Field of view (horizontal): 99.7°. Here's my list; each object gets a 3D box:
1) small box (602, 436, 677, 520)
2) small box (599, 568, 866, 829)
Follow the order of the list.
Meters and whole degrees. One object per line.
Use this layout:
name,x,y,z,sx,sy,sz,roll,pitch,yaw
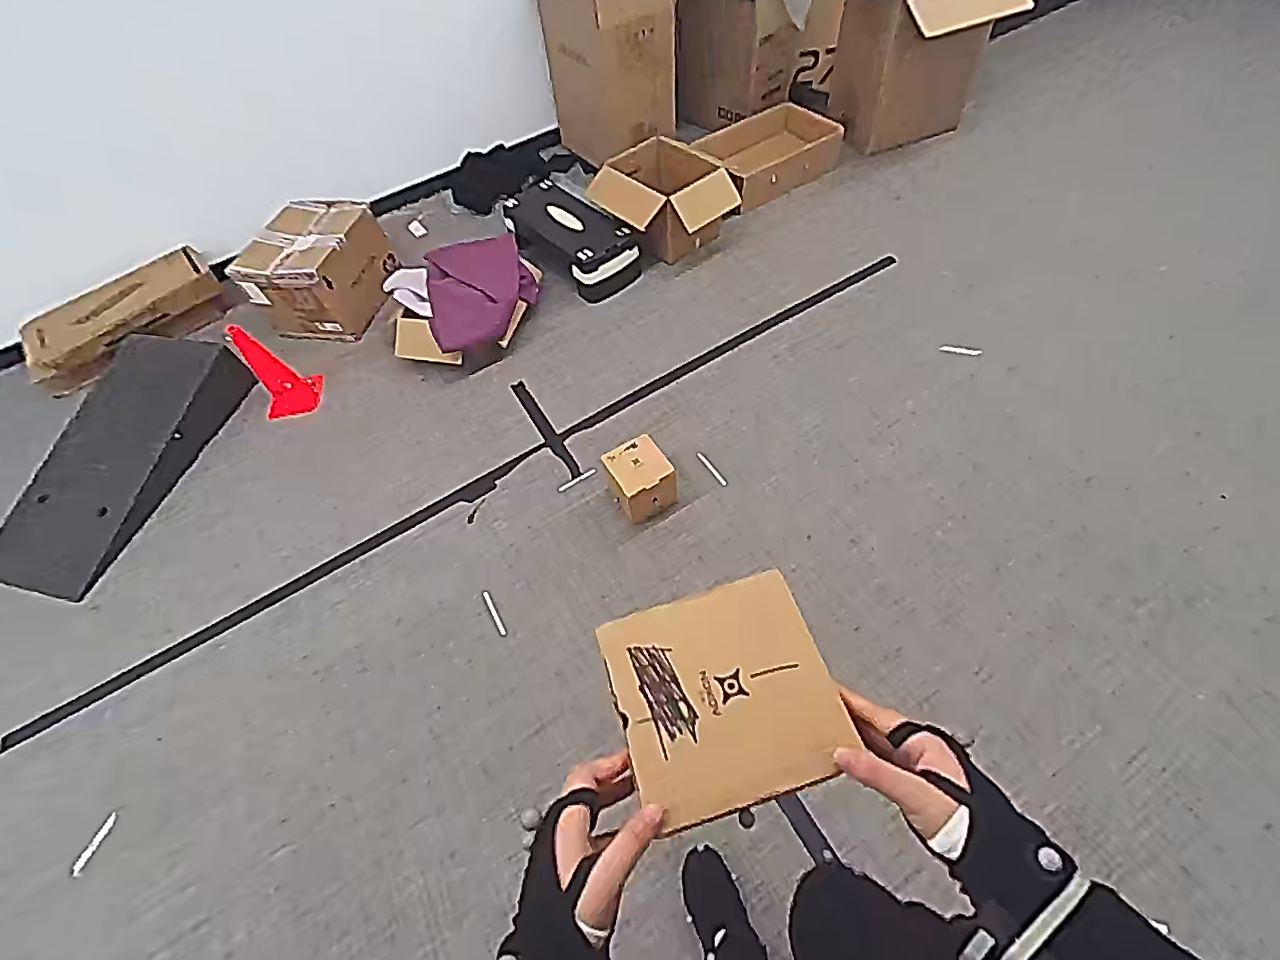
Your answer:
small box,0.004,0.003,1.662,0.168,0.176,0.179,-28,59,-12
small box,0.076,0.211,0.506,0.179,0.176,0.168,-17,57,-4
